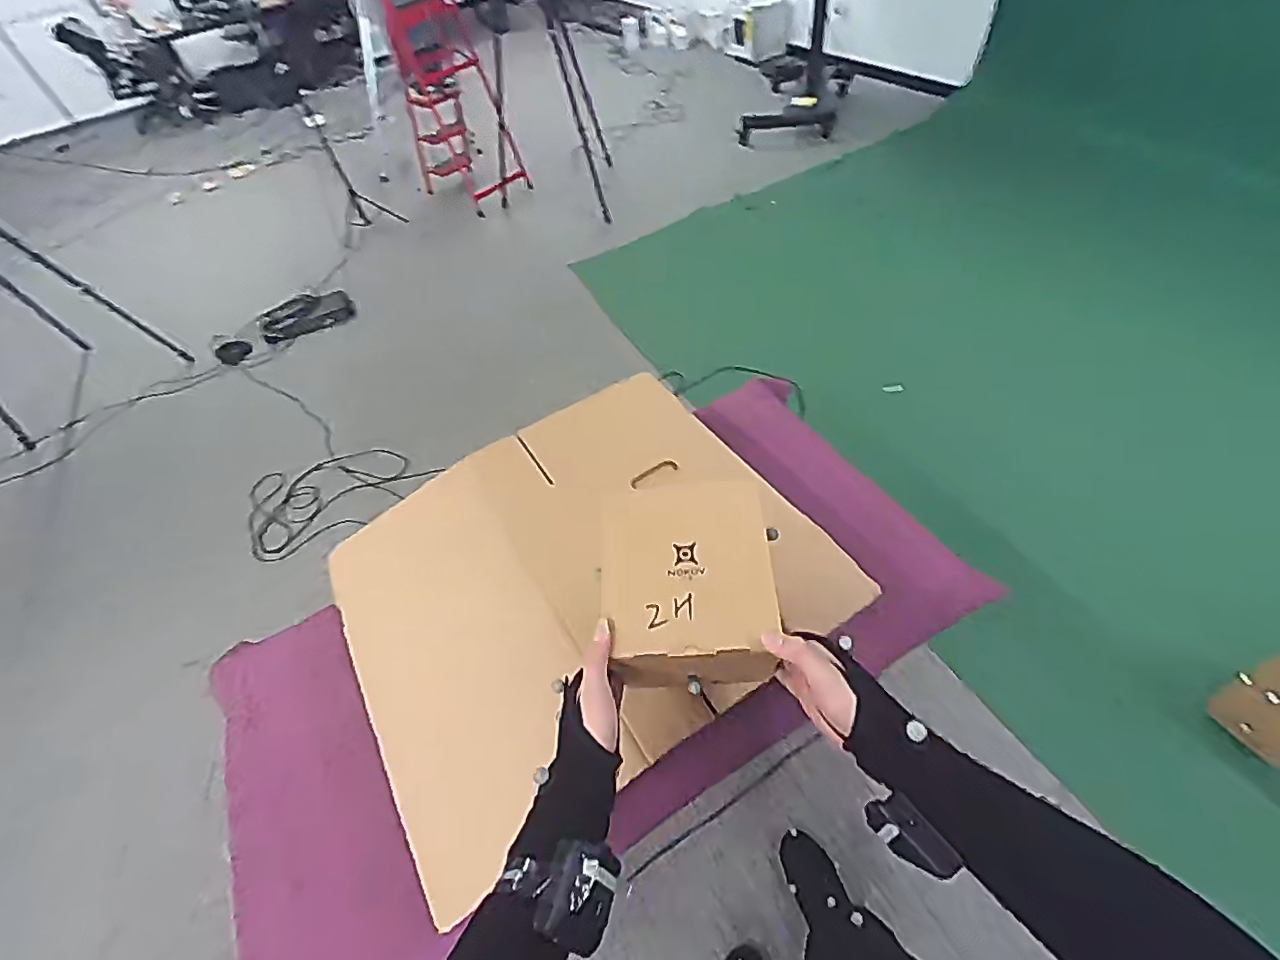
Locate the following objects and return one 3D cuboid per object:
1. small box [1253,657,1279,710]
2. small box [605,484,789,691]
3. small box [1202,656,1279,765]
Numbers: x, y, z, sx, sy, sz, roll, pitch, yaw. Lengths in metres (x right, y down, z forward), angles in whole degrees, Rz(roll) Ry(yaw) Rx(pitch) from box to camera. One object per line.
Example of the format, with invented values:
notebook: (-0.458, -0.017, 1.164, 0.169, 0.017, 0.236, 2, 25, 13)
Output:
small box: (1.503, 0.445, 1.161, 0.179, 0.176, 0.168, -27, 53, -13)
small box: (0.057, 0.122, 0.587, 0.168, 0.176, 0.179, -4, 60, 5)
small box: (1.524, 0.545, 1.288, 0.179, 0.176, 0.168, -28, 53, -12)
